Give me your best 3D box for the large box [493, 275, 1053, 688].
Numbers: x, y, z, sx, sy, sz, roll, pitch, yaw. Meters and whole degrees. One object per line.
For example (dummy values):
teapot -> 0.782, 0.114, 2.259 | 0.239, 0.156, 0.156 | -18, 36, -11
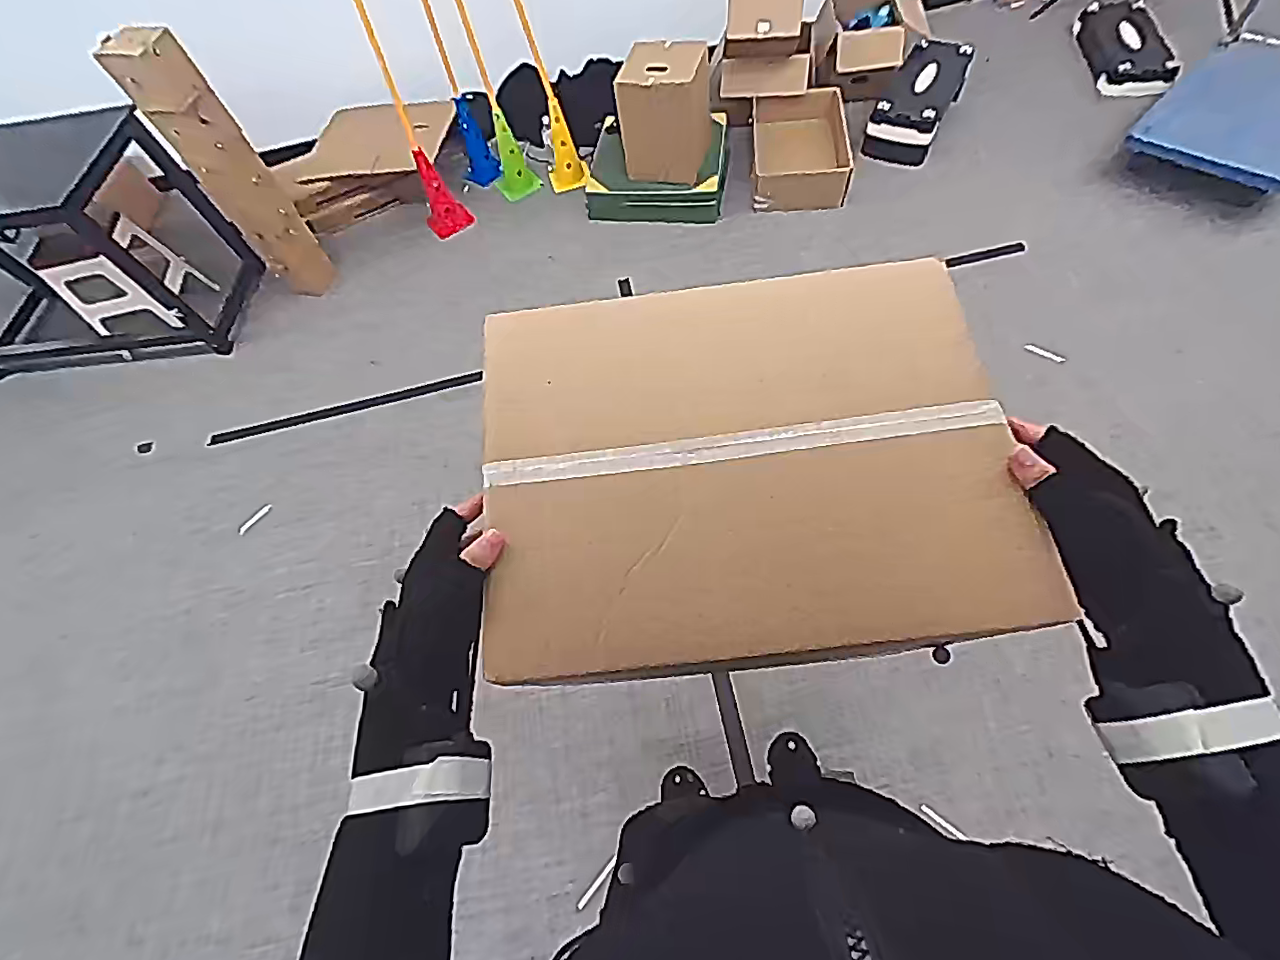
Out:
large box -> 0.090, 0.033, 0.571 | 0.408, 0.320, 0.320 | -6, 68, 1

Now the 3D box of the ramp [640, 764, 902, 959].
ramp -> 0.339, 1.166, 1.095 | 0.509, 0.206, 0.991 | -13, 62, -2
